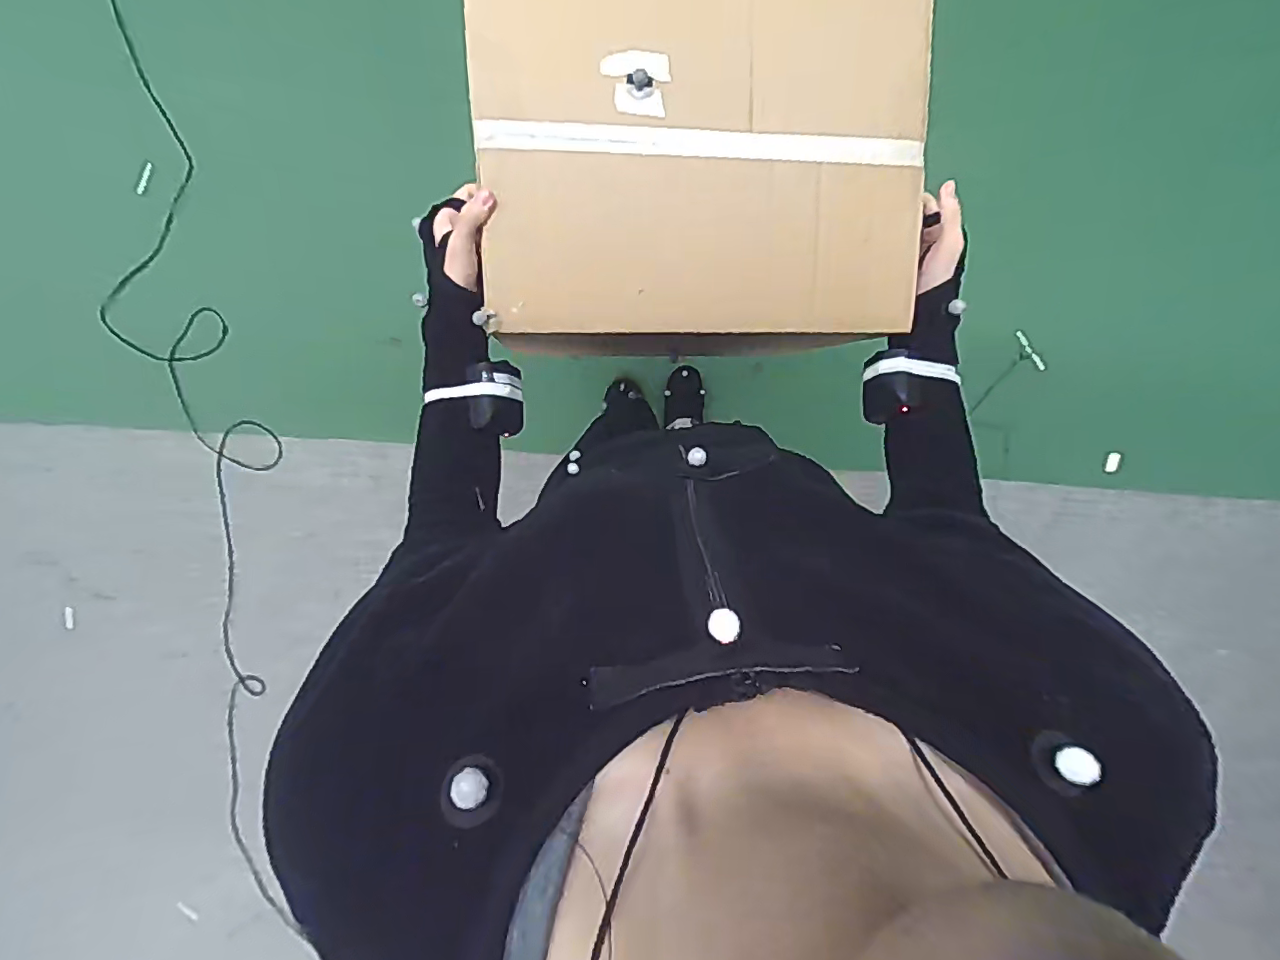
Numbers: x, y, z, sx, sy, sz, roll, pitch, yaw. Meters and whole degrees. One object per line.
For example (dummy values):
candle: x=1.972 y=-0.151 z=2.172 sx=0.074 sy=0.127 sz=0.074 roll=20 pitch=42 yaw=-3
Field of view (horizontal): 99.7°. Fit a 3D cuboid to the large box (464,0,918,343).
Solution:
large box: x=0.037 y=-0.326 z=0.628 sx=0.408 sy=0.320 sz=0.320 roll=-2 pitch=100 yaw=-8
